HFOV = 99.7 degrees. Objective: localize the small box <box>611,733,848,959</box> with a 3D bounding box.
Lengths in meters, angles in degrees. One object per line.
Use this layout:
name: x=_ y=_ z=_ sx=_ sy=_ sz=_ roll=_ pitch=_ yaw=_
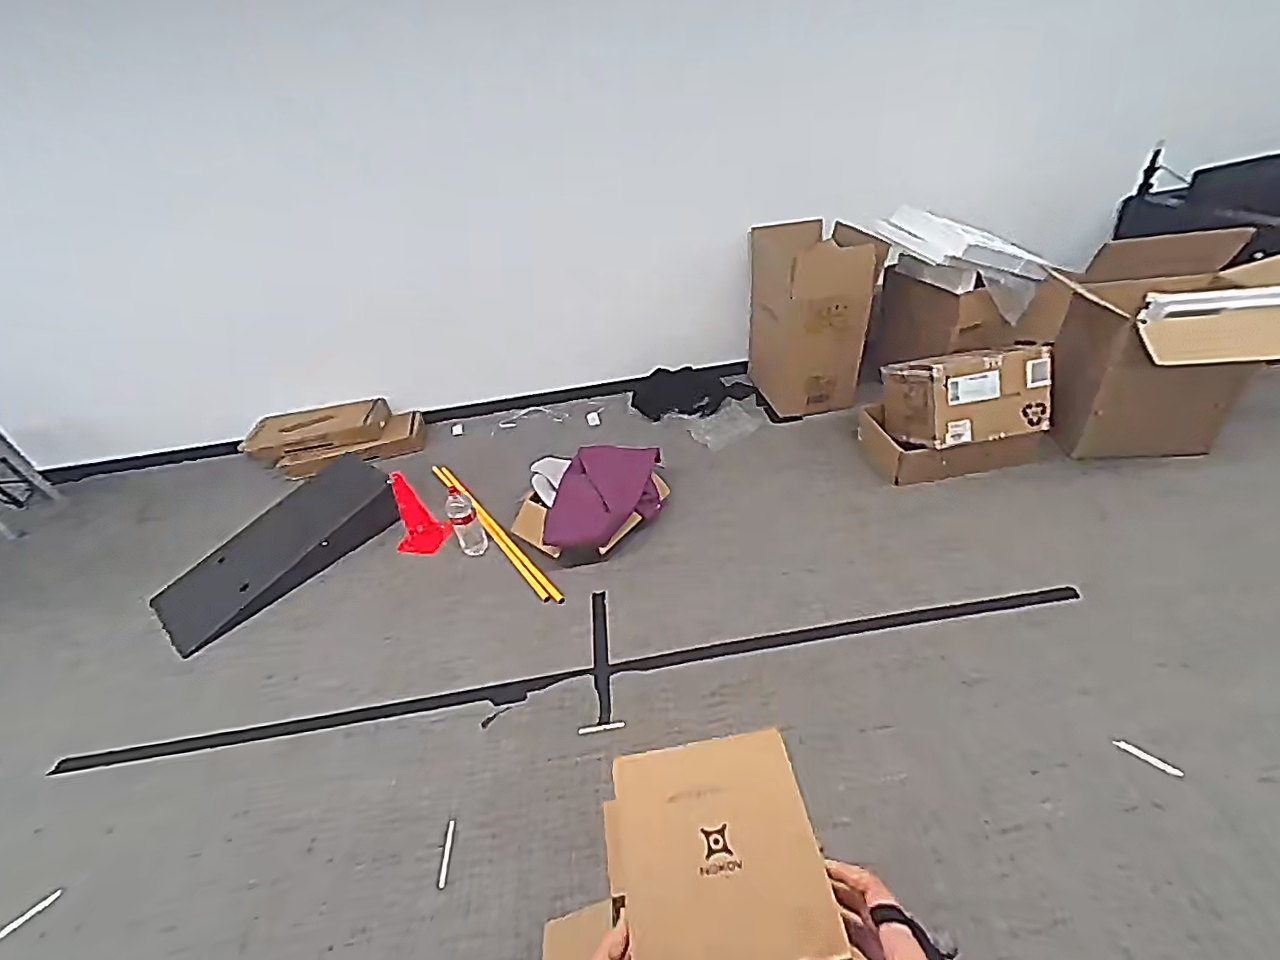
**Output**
small box: x=0.072 y=0.372 z=0.507 sx=0.168 sy=0.176 sz=0.179 roll=-9 pitch=40 yaw=-3
